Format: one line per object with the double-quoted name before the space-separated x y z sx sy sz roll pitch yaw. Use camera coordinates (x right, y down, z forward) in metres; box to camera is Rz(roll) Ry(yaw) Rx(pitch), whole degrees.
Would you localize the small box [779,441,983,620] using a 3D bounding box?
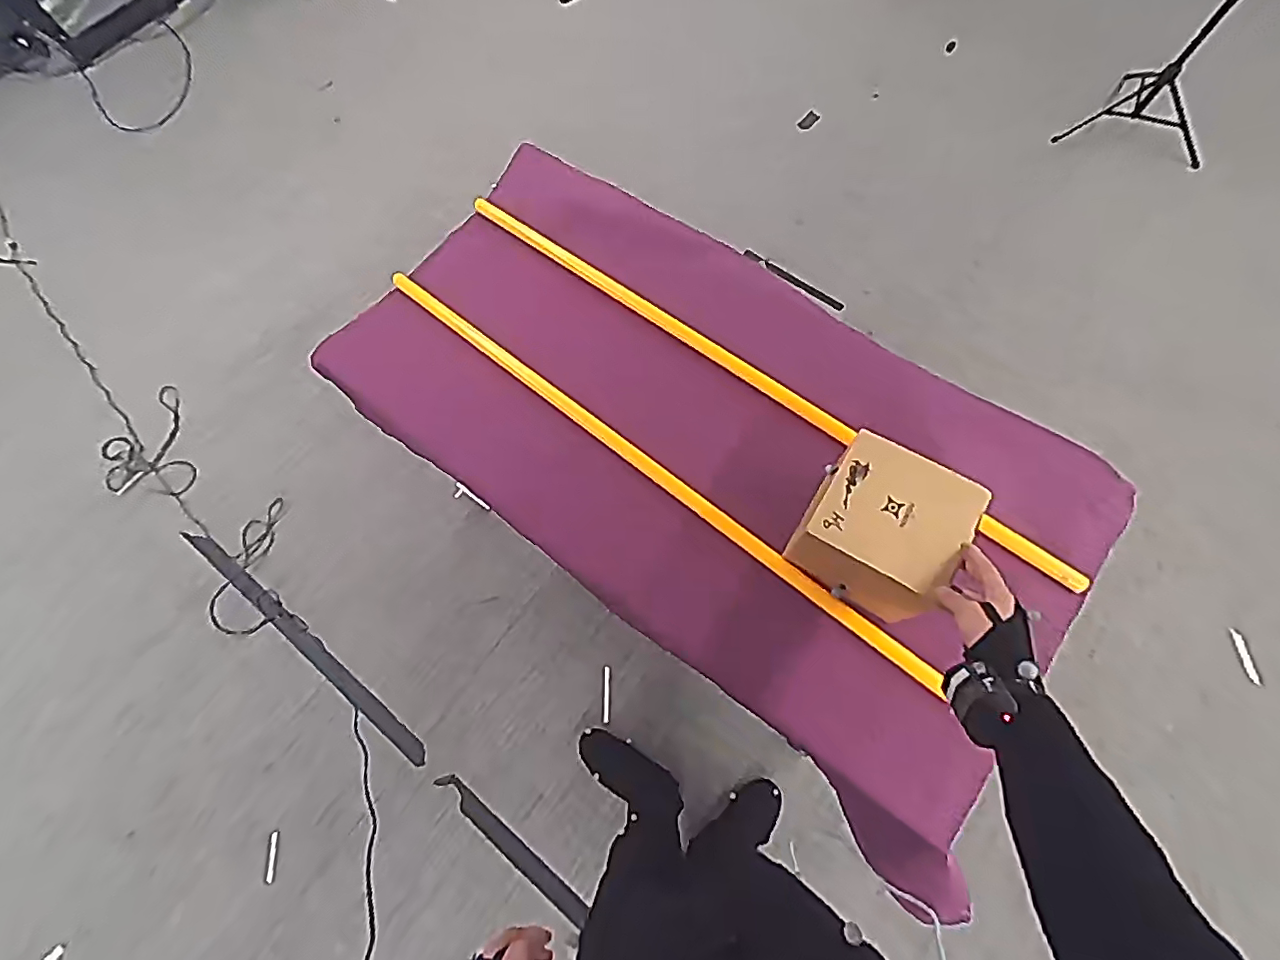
"small box" 0.318 0.079 0.747 0.179 0.176 0.168 31 75 13
